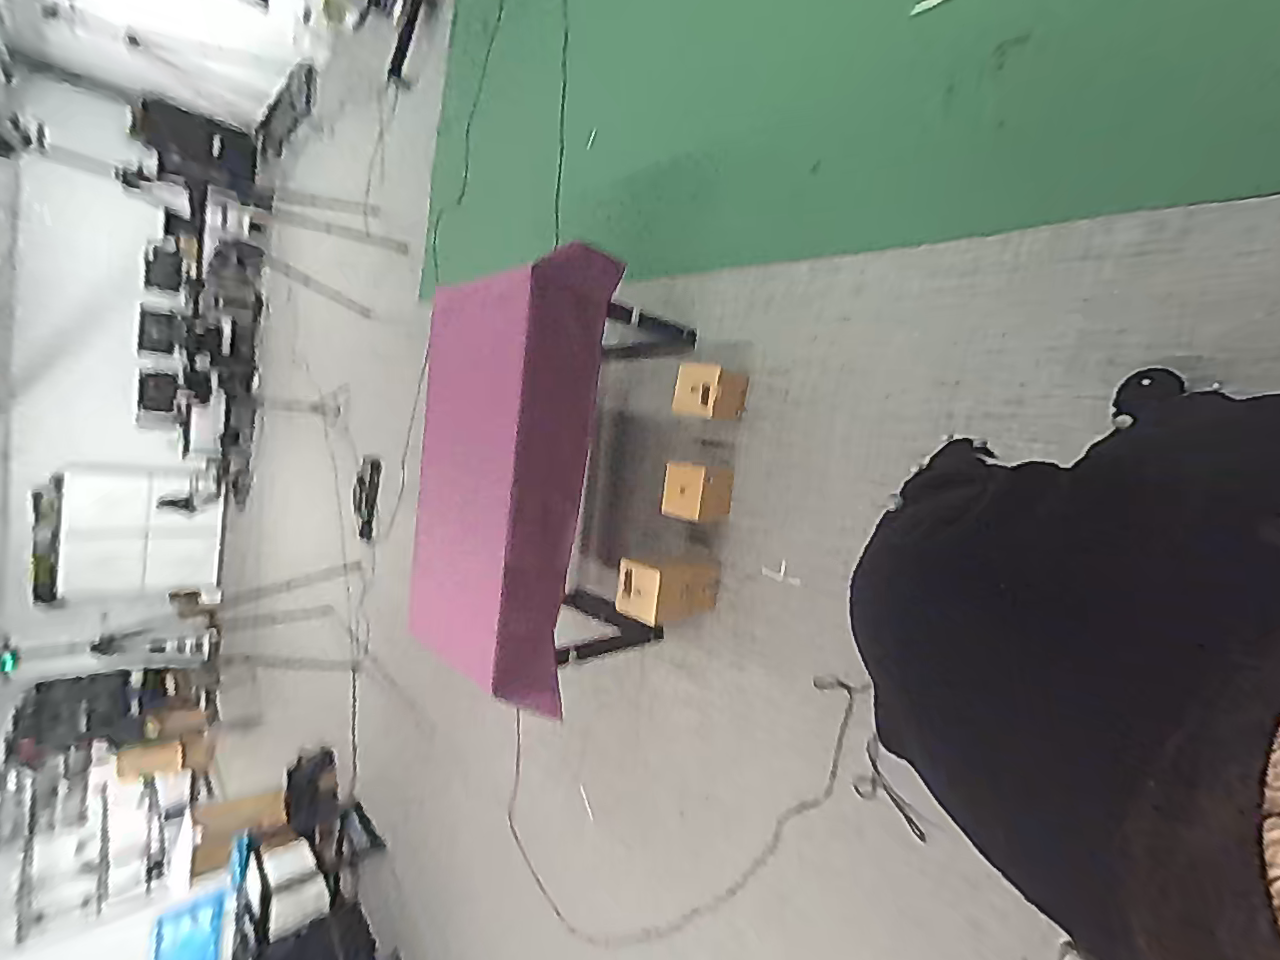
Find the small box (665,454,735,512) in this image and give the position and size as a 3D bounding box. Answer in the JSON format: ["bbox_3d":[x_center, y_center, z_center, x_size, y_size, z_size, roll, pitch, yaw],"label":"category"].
[{"bbox_3d":[0.210,0.010,1.870,0.168,0.176,0.179,11,96,44],"label":"small box"}]
